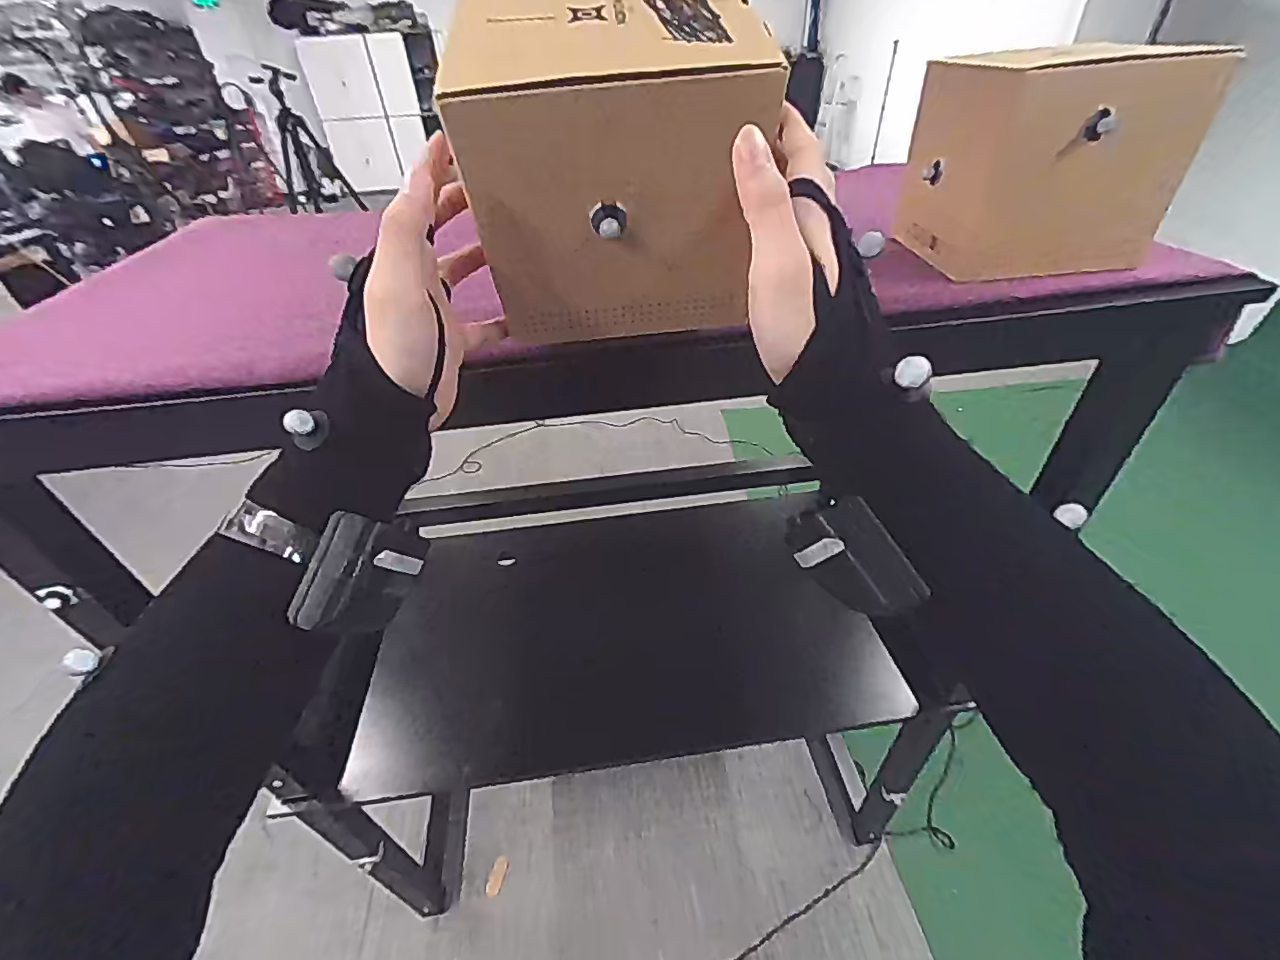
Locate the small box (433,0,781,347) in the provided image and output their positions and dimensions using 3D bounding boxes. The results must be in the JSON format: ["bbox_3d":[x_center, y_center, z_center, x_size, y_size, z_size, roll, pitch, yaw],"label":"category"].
[{"bbox_3d":[-0.018,-0.214,0.374,0.179,0.176,0.168,-6,59,1],"label":"small box"}]

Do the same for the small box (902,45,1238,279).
[{"bbox_3d":[0.377,-0.306,0.526,0.179,0.176,0.168,-4,40,1],"label":"small box"}]
